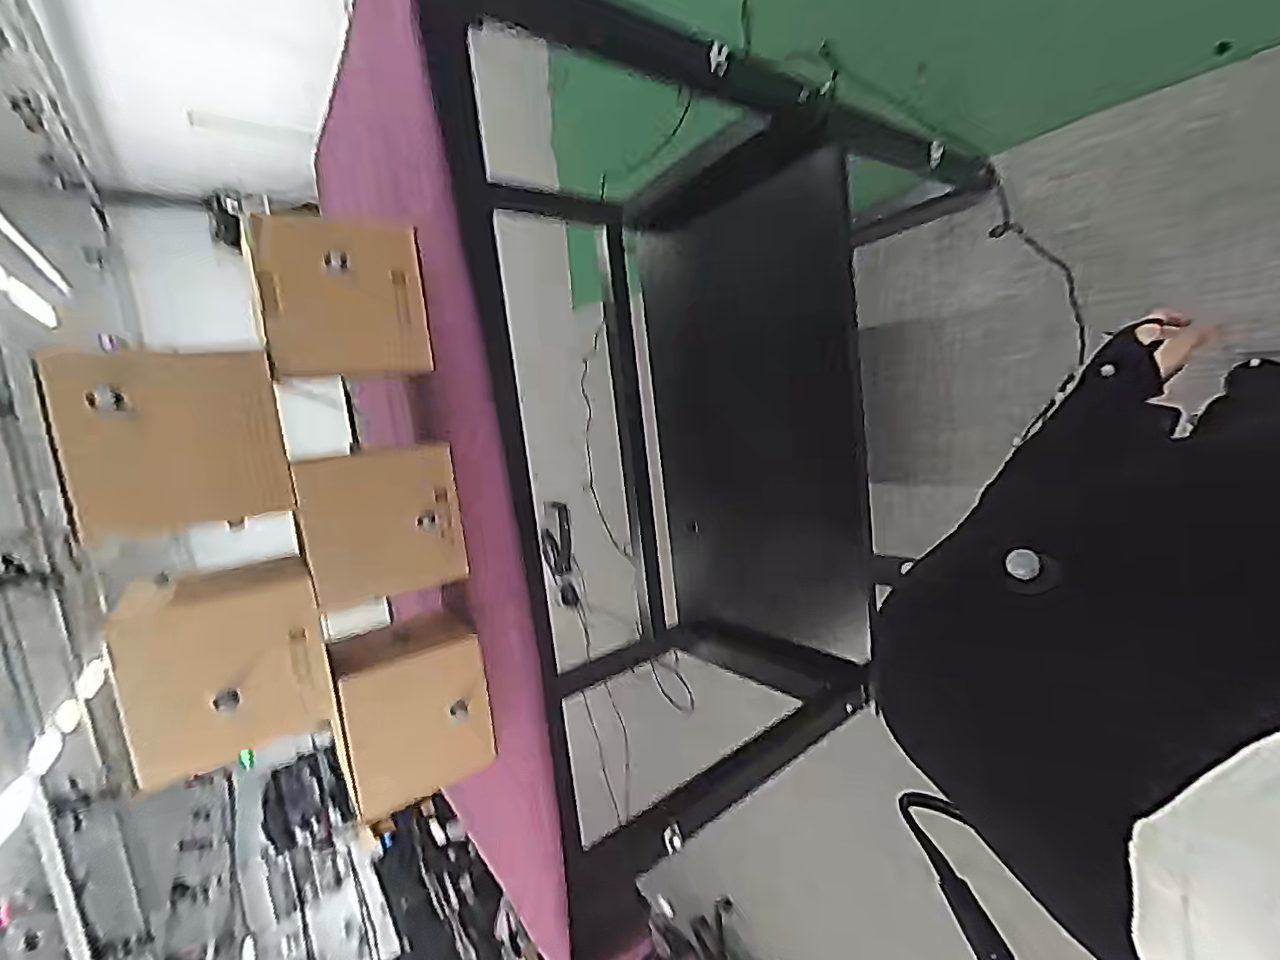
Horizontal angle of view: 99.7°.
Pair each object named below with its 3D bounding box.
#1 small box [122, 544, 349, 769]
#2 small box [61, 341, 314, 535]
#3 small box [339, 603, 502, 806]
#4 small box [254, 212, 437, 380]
[{"bbox_3d":[-0.445,0.180,0.619,0.179,0.176,0.168,5,105,54],"label":"small box"},{"bbox_3d":[-0.475,-0.052,0.591,0.168,0.176,0.179,5,104,55],"label":"small box"},{"bbox_3d":[-0.301,0.281,0.730,0.168,0.176,0.179,3,101,54],"label":"small box"},{"bbox_3d":[-0.361,-0.217,0.673,0.179,0.176,0.168,9,107,54],"label":"small box"}]
